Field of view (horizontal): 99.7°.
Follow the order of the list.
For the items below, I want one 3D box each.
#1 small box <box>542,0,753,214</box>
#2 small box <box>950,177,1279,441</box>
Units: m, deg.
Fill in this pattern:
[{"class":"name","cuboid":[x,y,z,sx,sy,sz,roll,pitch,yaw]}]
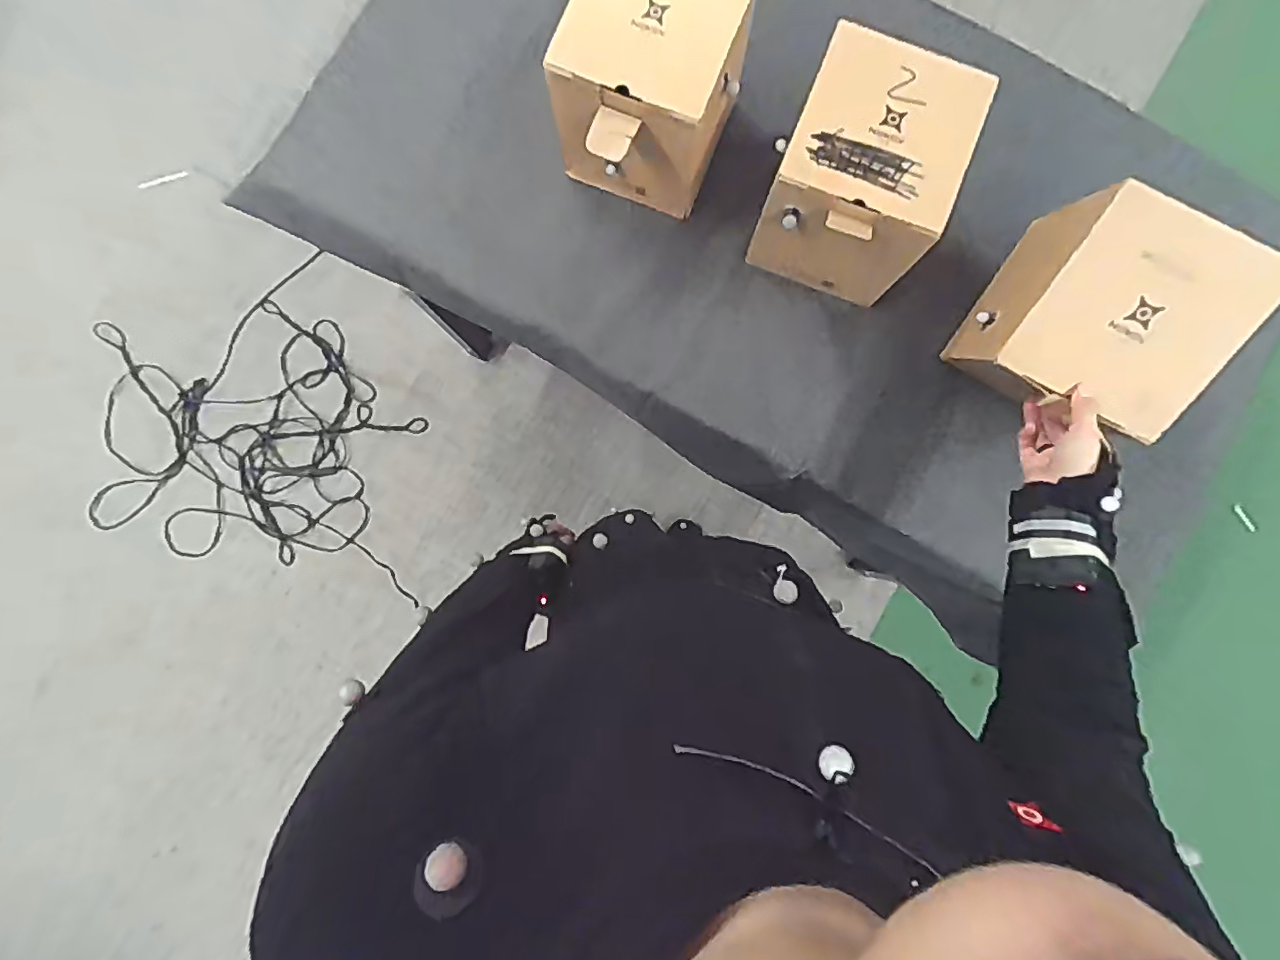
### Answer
[{"class":"small box","cuboid":[0.009,-0.442,0.602,0.168,0.176,0.179,21,87,1]},{"class":"small box","cuboid":[0.455,-0.164,0.554,0.168,0.176,0.179,29,107,3]}]
